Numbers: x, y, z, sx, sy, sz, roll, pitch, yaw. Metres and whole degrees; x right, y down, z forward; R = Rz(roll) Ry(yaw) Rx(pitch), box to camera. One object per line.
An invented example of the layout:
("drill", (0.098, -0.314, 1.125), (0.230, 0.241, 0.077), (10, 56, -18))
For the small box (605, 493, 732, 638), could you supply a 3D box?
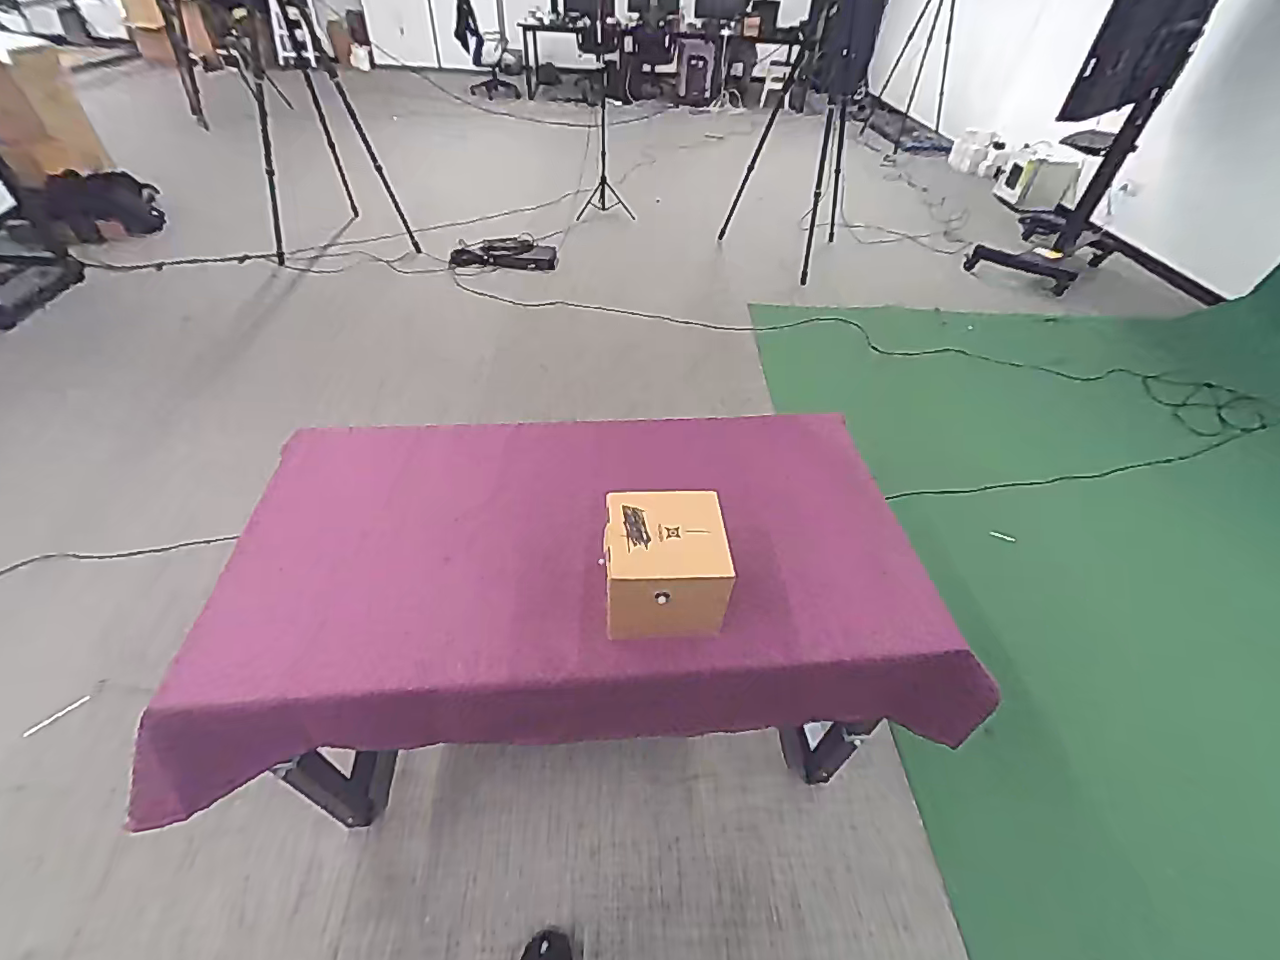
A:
("small box", (0.035, 0.137, 0.852), (0.179, 0.176, 0.168), (0, 45, -4))
